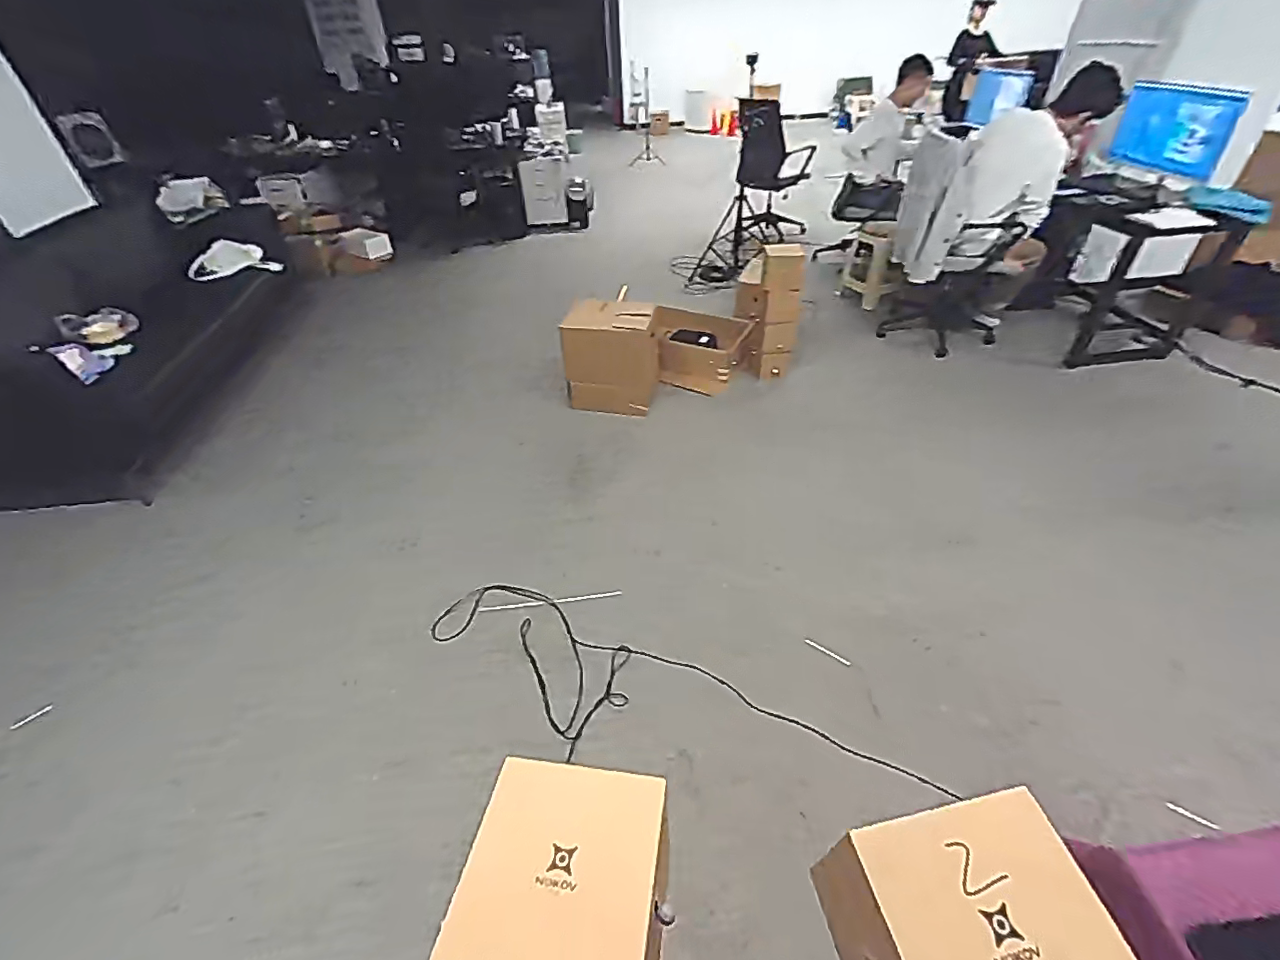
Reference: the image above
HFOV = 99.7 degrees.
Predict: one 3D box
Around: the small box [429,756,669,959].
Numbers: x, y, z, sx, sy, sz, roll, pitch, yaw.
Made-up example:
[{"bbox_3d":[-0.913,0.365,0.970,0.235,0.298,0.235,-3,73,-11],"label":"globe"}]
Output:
[{"bbox_3d":[-0.066,0.398,0.507,0.168,0.176,0.179,4,33,9],"label":"small box"}]
